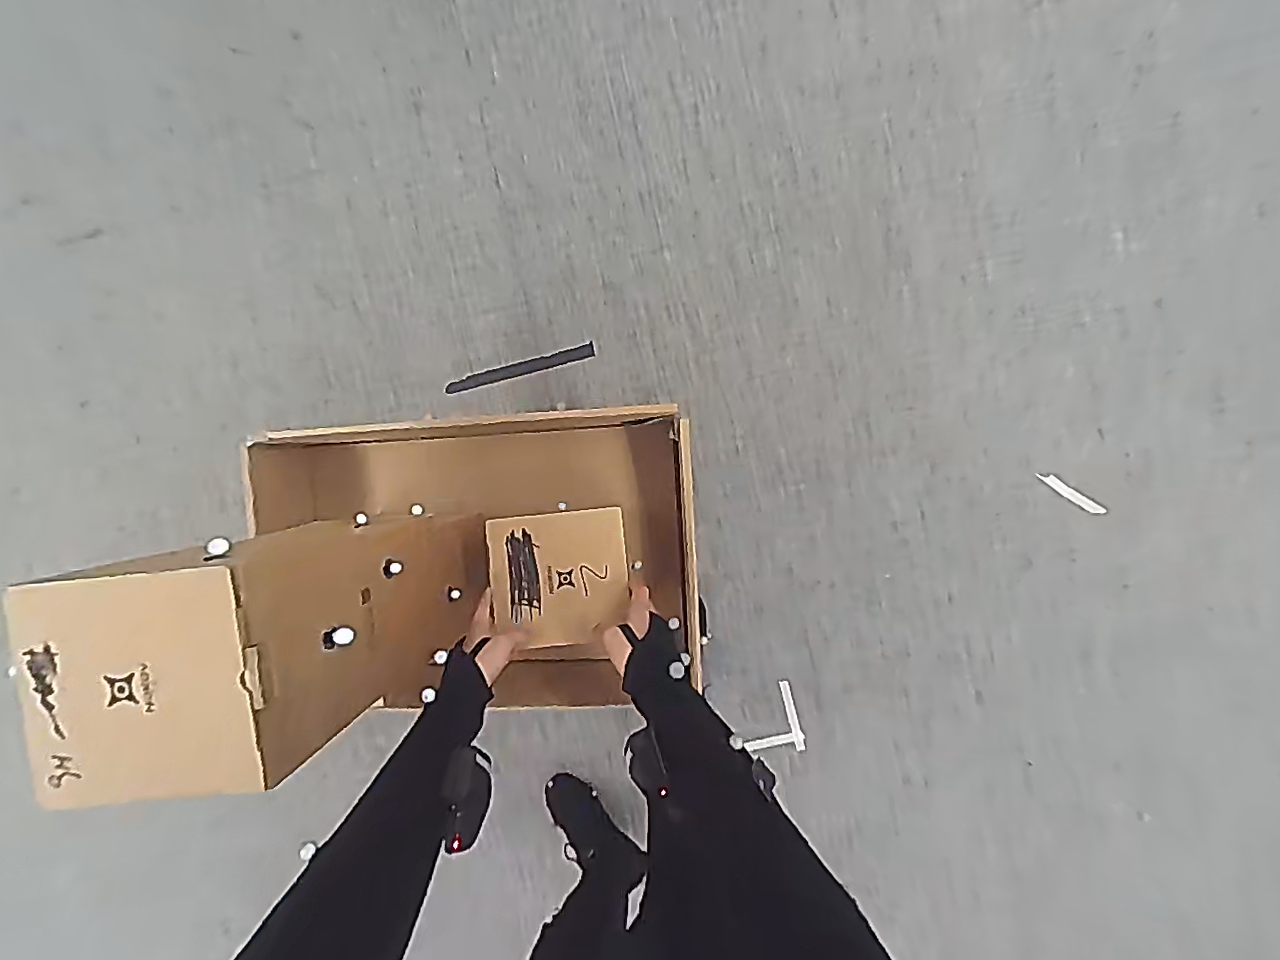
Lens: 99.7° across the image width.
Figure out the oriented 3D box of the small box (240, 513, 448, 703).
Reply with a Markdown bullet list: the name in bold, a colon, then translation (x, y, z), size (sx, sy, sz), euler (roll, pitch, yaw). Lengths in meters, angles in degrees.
- **small box**: translation (-0.338, 0.140, 0.628), size (0.168, 0.176, 0.179), euler (-4, 93, 3)

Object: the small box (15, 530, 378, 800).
- **small box**: translation (-0.347, 0.139, 0.464), size (0.179, 0.176, 0.168), euler (-5, 92, 3)
